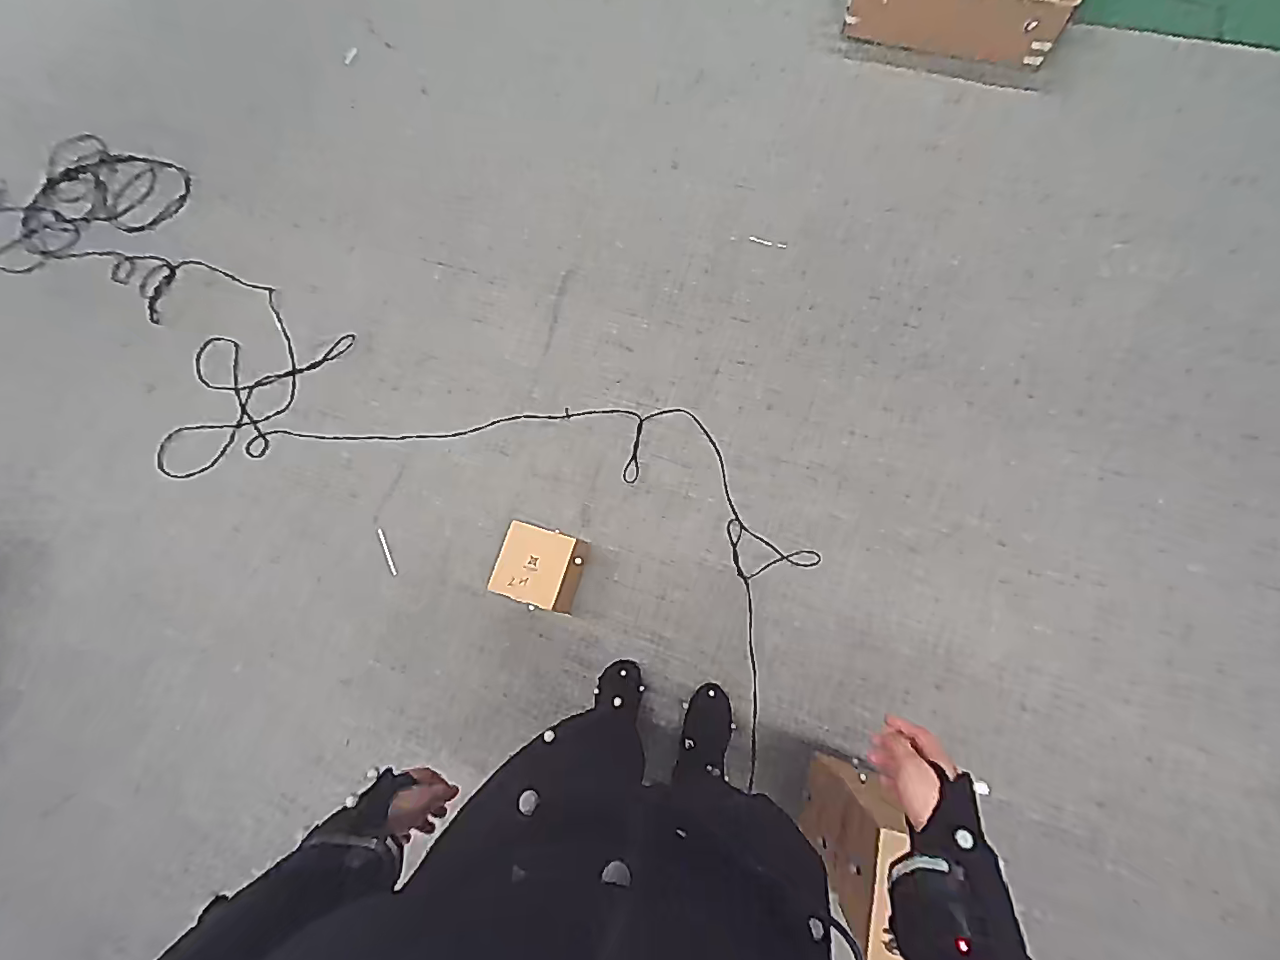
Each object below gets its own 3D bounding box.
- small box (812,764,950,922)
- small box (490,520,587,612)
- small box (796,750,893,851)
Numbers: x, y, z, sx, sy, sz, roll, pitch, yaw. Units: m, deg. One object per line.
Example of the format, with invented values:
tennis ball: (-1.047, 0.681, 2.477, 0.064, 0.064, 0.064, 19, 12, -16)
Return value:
small box: (0.424, 0.640, 0.981, 0.179, 0.176, 0.168, 13, 79, 9)
small box: (-0.240, 0.216, 1.333, 0.168, 0.176, 0.179, 15, 77, 11)
small box: (0.440, 0.690, 1.135, 0.179, 0.176, 0.168, 16, 78, 10)
